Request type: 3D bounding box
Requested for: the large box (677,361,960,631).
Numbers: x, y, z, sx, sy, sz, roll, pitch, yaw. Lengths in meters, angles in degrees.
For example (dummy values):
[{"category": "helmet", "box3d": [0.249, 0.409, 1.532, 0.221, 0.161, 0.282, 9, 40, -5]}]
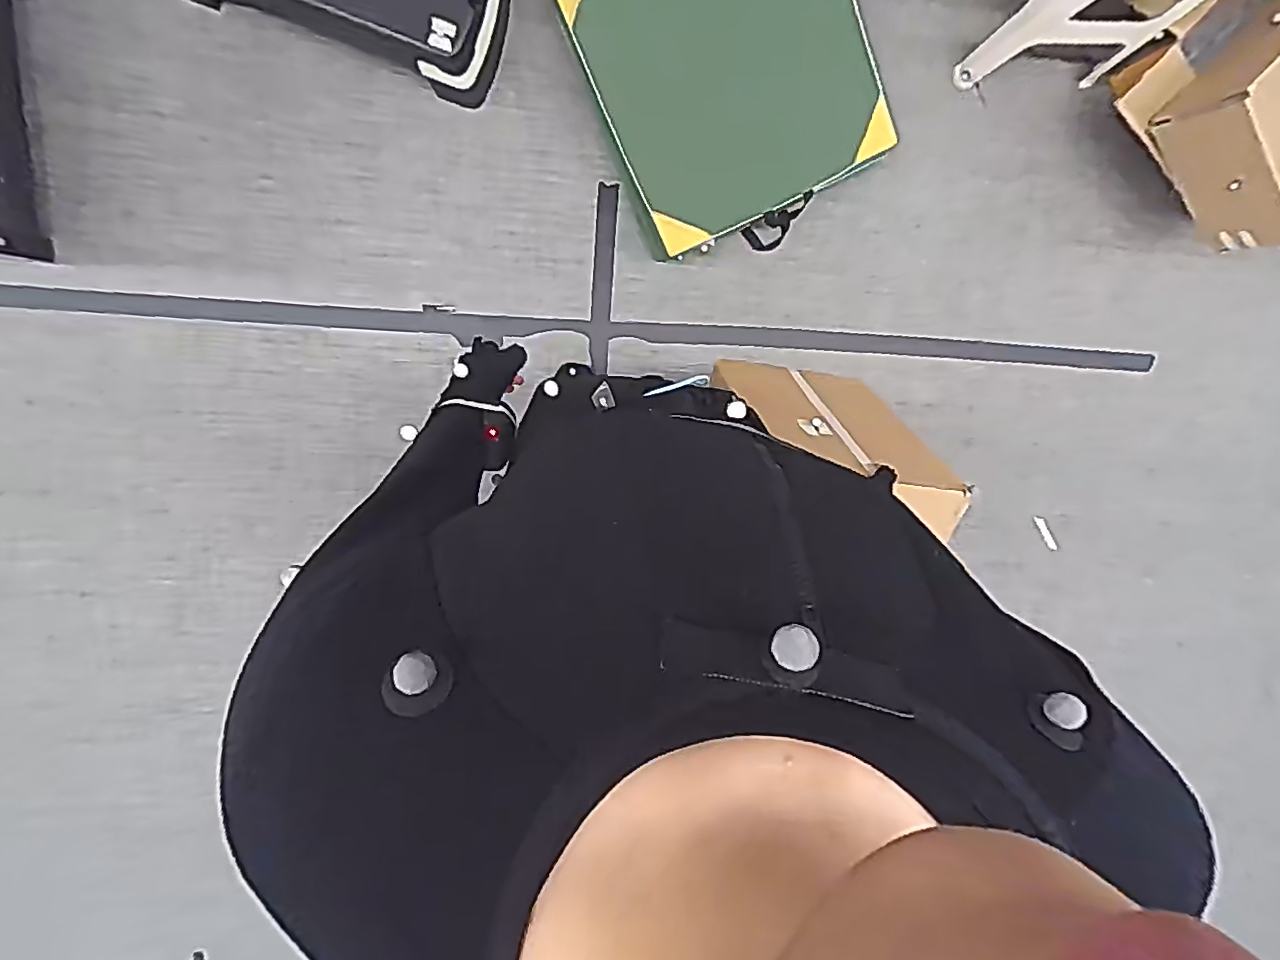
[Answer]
[{"category": "large box", "box3d": [0.274, 0.017, 1.003, 0.320, 0.408, 0.320, 5, 124, -9]}]
